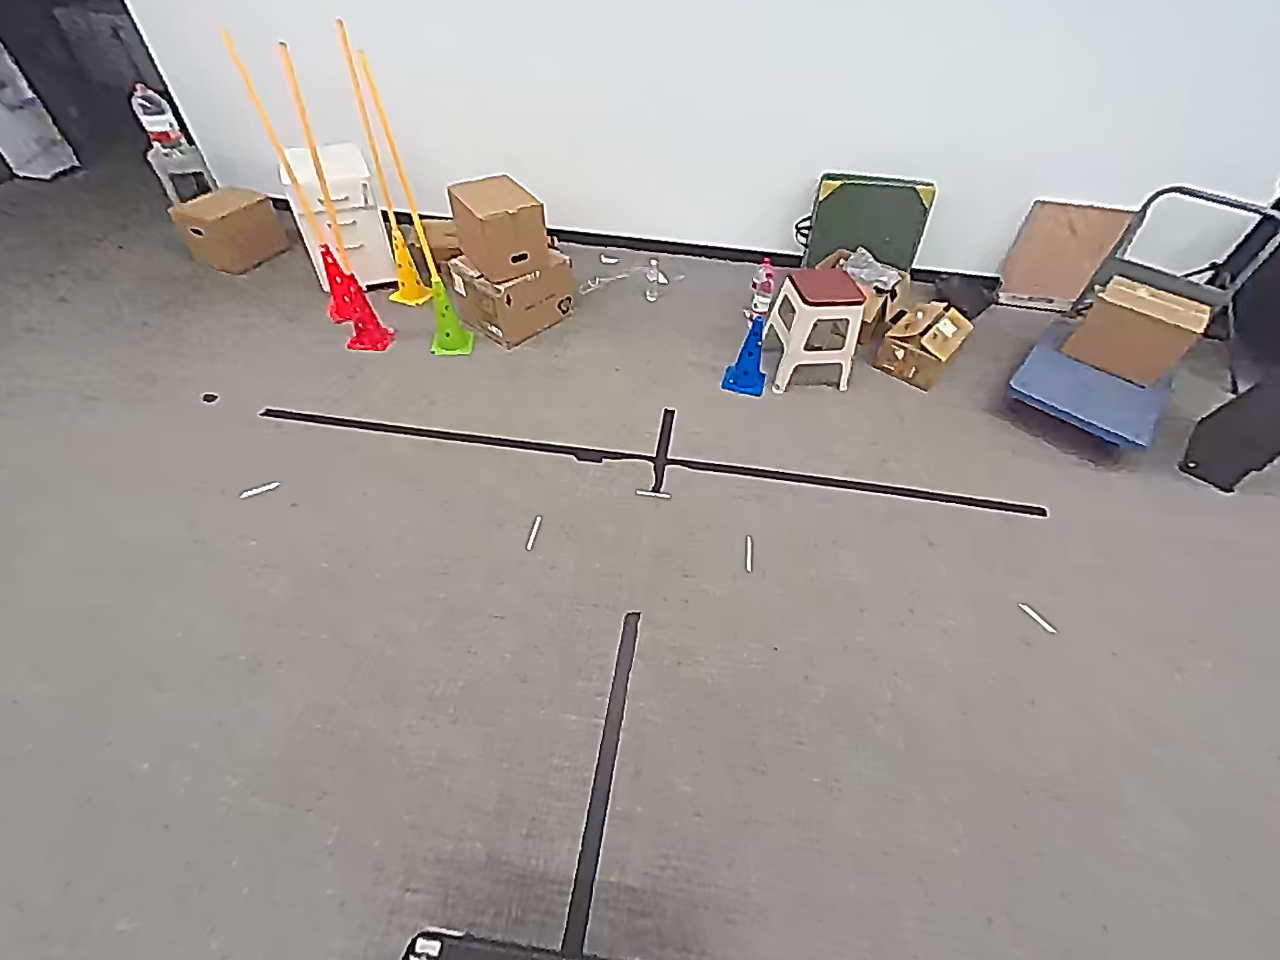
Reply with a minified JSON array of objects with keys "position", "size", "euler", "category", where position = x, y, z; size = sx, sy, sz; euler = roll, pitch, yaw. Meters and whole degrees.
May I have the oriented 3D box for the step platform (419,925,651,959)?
[{"position":[-0.141,1.120,1.080],"size":[0.684,0.204,0.286],"euler":[8,48,2],"category":"step platform"}]
